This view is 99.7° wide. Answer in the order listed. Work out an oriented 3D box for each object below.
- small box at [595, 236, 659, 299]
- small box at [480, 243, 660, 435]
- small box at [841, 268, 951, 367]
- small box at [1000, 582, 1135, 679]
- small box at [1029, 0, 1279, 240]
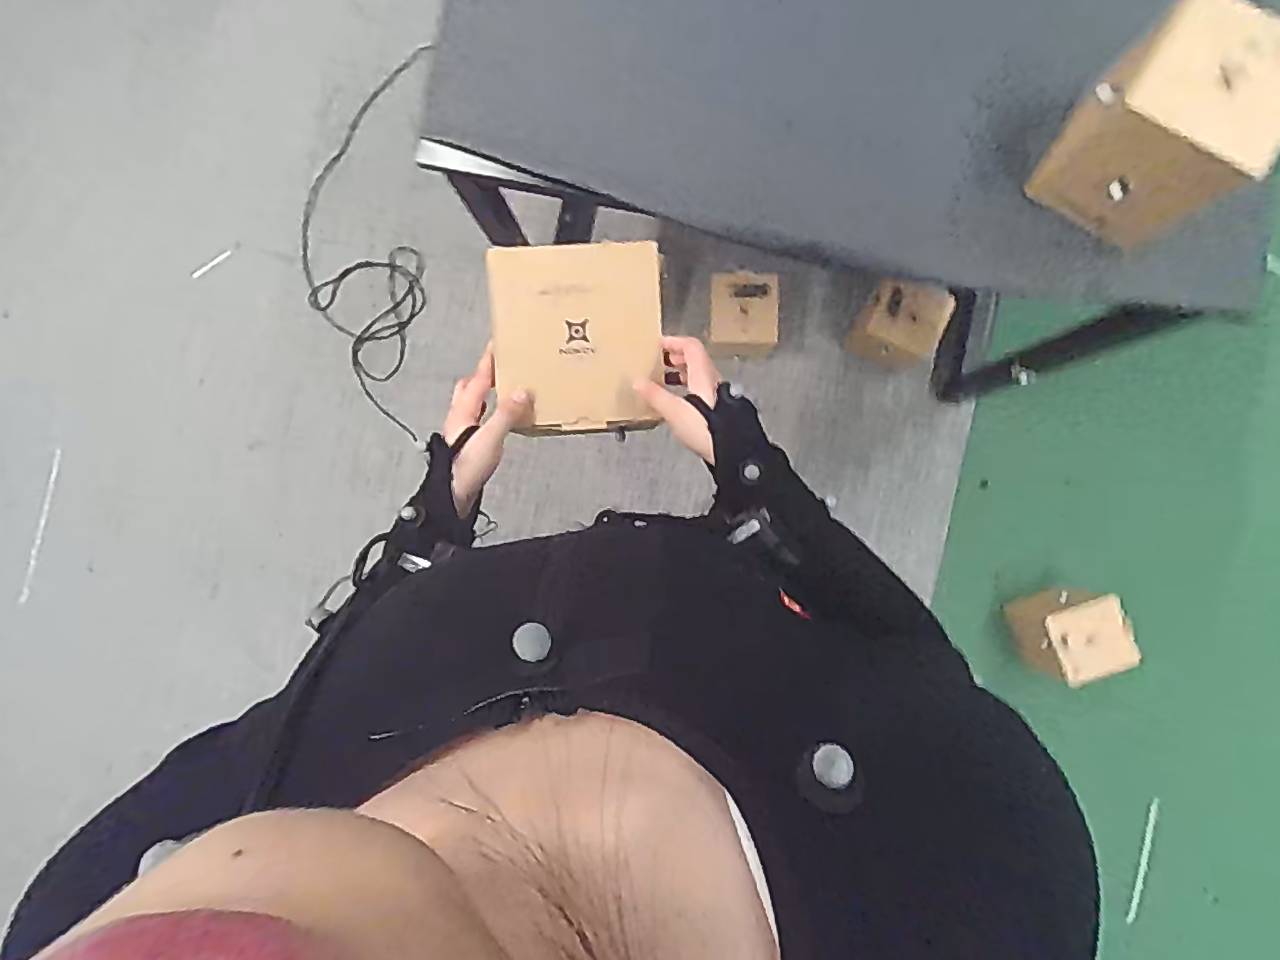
[{"bbox_3d":[-0.048,-0.508,1.437,0.168,0.176,0.179,16,88,4],"label":"small box"},{"bbox_3d":[-0.069,-0.141,0.599,0.168,0.176,0.179,-4,93,-3],"label":"small box"},{"bbox_3d":[0.650,-0.410,1.398,0.179,0.176,0.168,25,90,2],"label":"small box"},{"bbox_3d":[1.059,0.367,1.354,0.179,0.176,0.168,-20,87,1],"label":"small box"},{"bbox_3d":[0.633,-0.438,0.667,0.168,0.176,0.179,33,87,3],"label":"small box"}]
